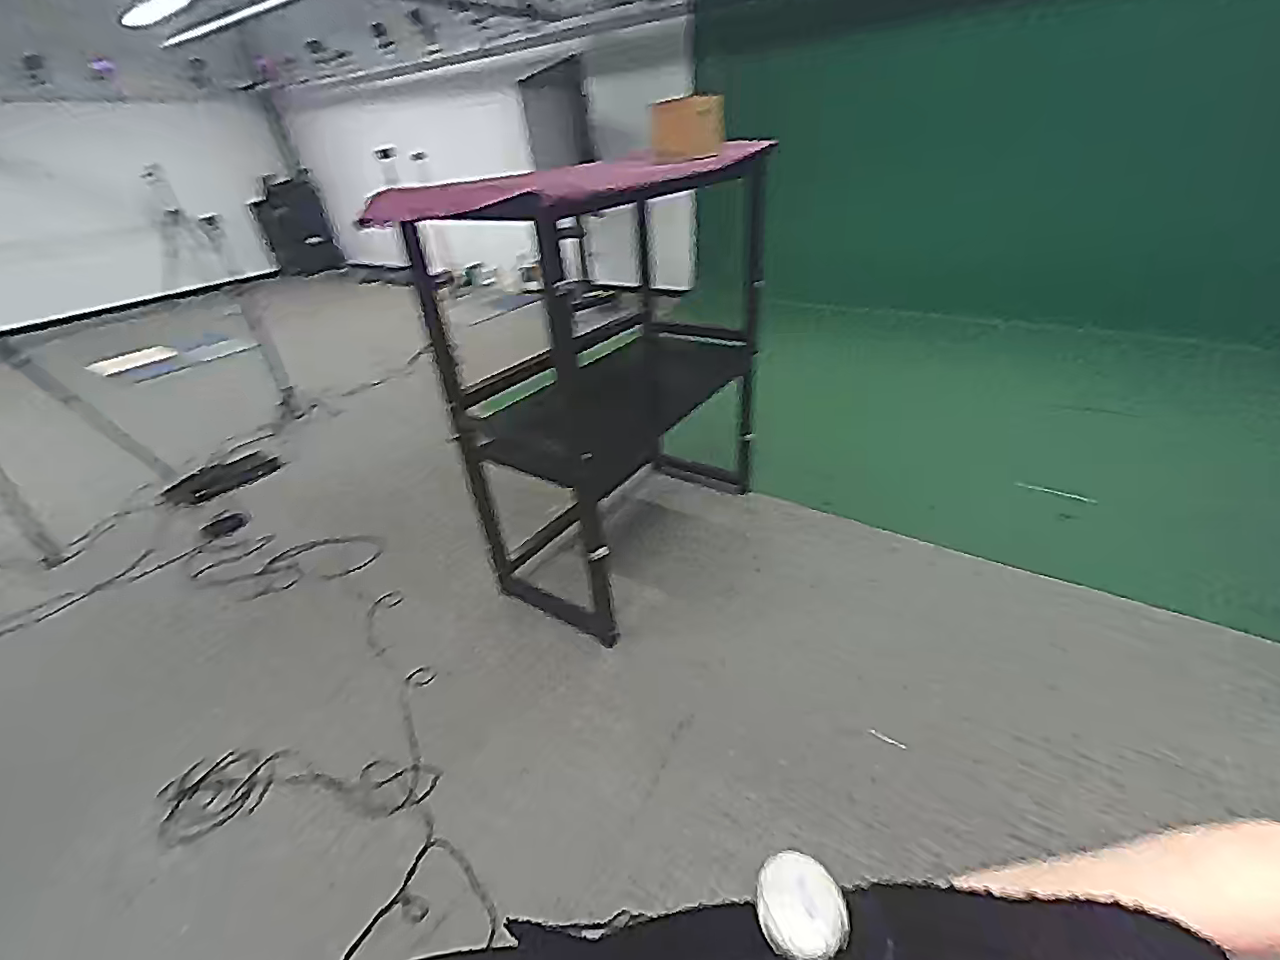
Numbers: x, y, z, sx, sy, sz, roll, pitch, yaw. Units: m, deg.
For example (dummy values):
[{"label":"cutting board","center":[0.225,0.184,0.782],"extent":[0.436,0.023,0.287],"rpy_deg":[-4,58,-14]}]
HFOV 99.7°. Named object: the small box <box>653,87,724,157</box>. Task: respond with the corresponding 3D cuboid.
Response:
[{"label":"small box","center":[0.165,-1.149,1.742],"extent":[0.168,0.176,0.179],"rpy_deg":[17,39,33]}]
